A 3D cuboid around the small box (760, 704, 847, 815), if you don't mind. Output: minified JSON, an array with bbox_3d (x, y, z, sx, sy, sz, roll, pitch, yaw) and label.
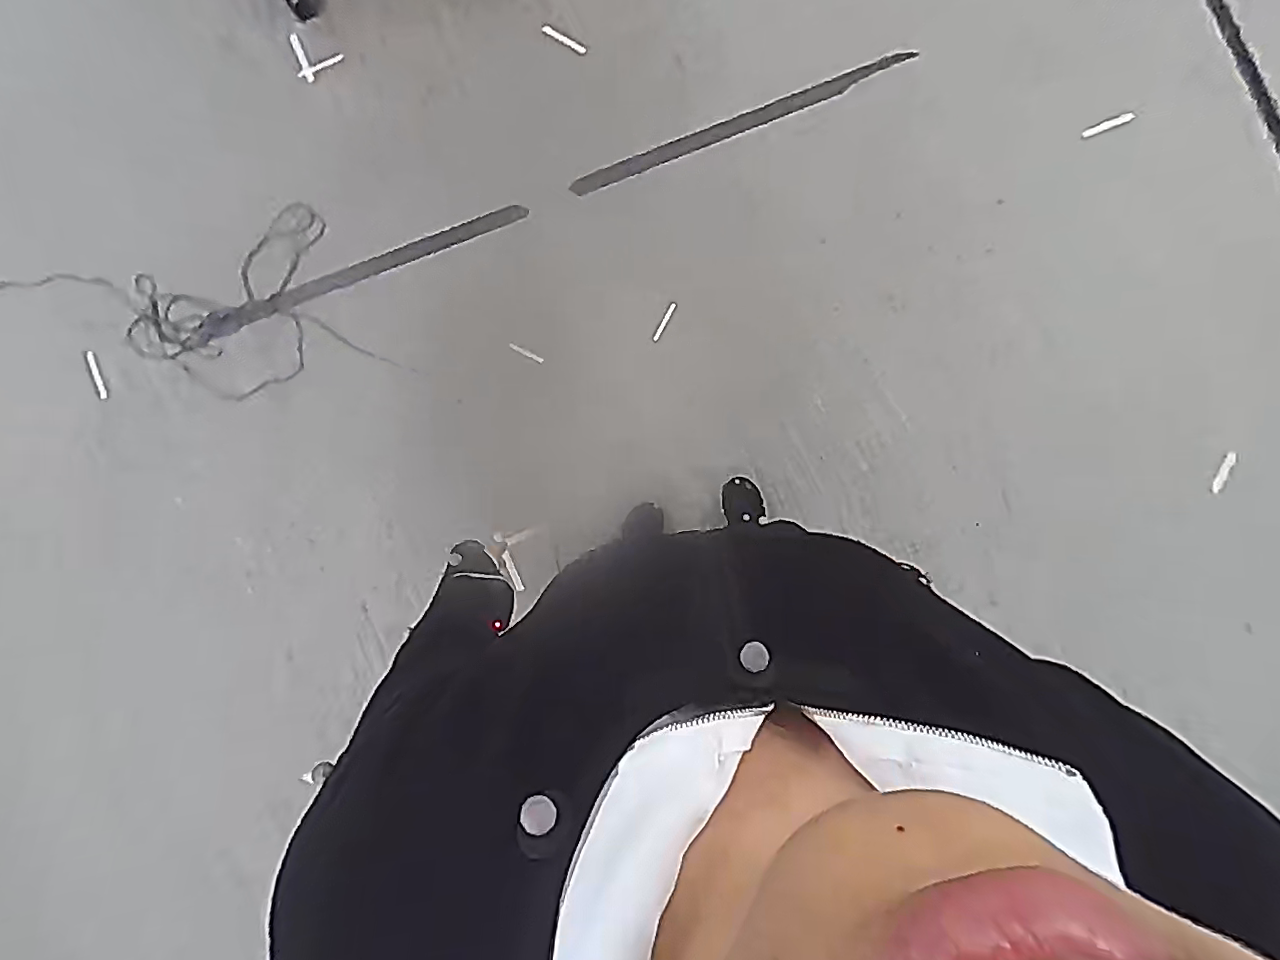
[{"bbox_3d":[0.385,0.592,1.209,0.168,0.176,0.179,-24,88,0],"label":"small box"}]

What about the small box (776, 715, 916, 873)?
[{"bbox_3d":[0.387,0.593,1.044,0.168,0.176,0.179,-25,88,0],"label":"small box"}]
